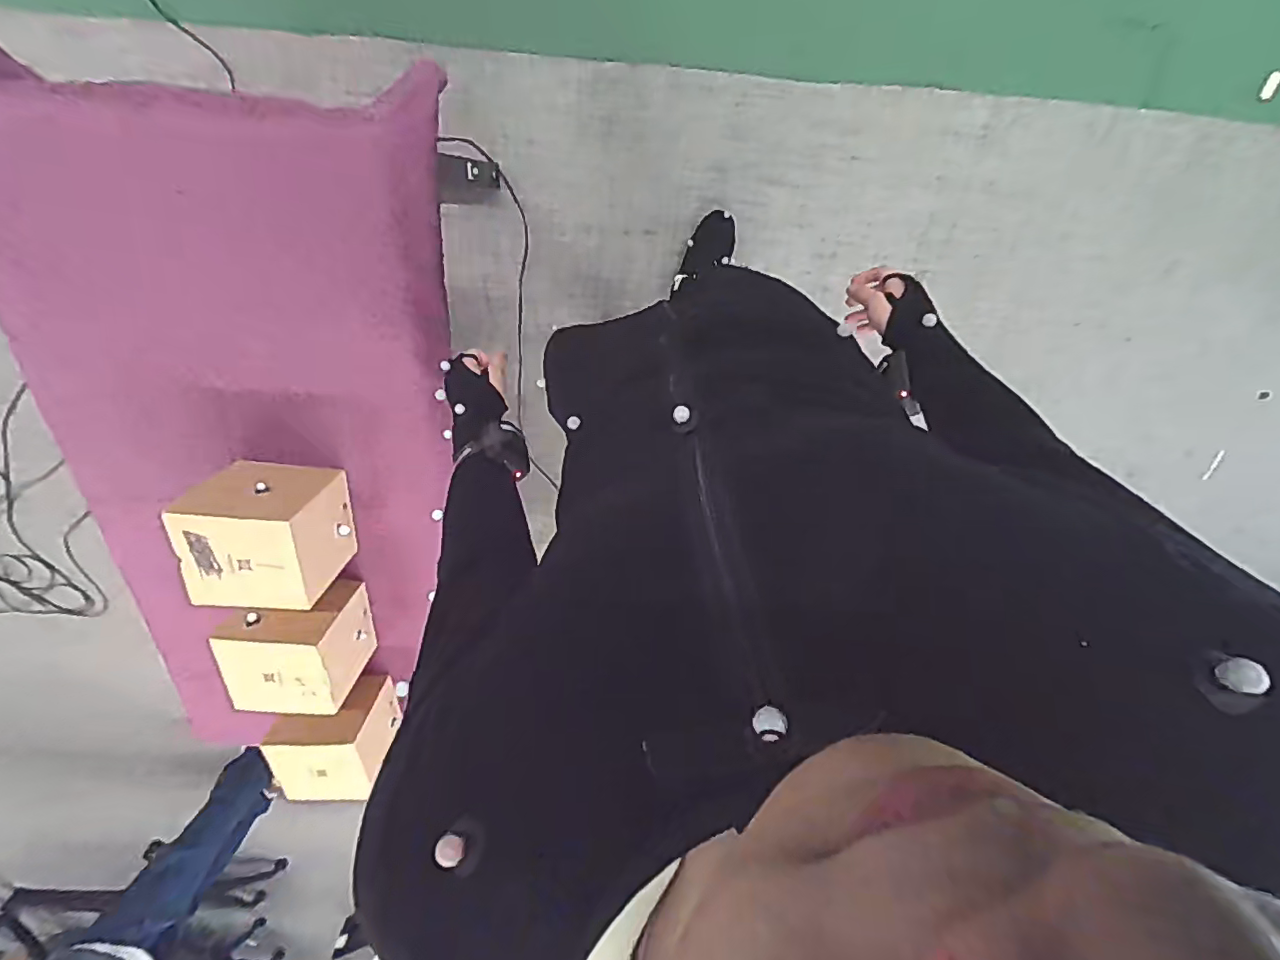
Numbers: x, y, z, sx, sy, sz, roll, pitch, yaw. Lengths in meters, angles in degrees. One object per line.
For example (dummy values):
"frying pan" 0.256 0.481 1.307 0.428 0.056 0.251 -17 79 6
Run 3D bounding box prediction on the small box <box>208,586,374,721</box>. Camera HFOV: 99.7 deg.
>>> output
"small box" -0.608 0.300 0.967 0.179 0.176 0.168 4 117 -2

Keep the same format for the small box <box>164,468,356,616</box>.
"small box" -0.587 0.091 0.862 0.179 0.176 0.168 5 117 -3

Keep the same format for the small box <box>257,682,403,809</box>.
"small box" -0.605 0.523 1.080 0.179 0.176 0.168 -1 117 0
